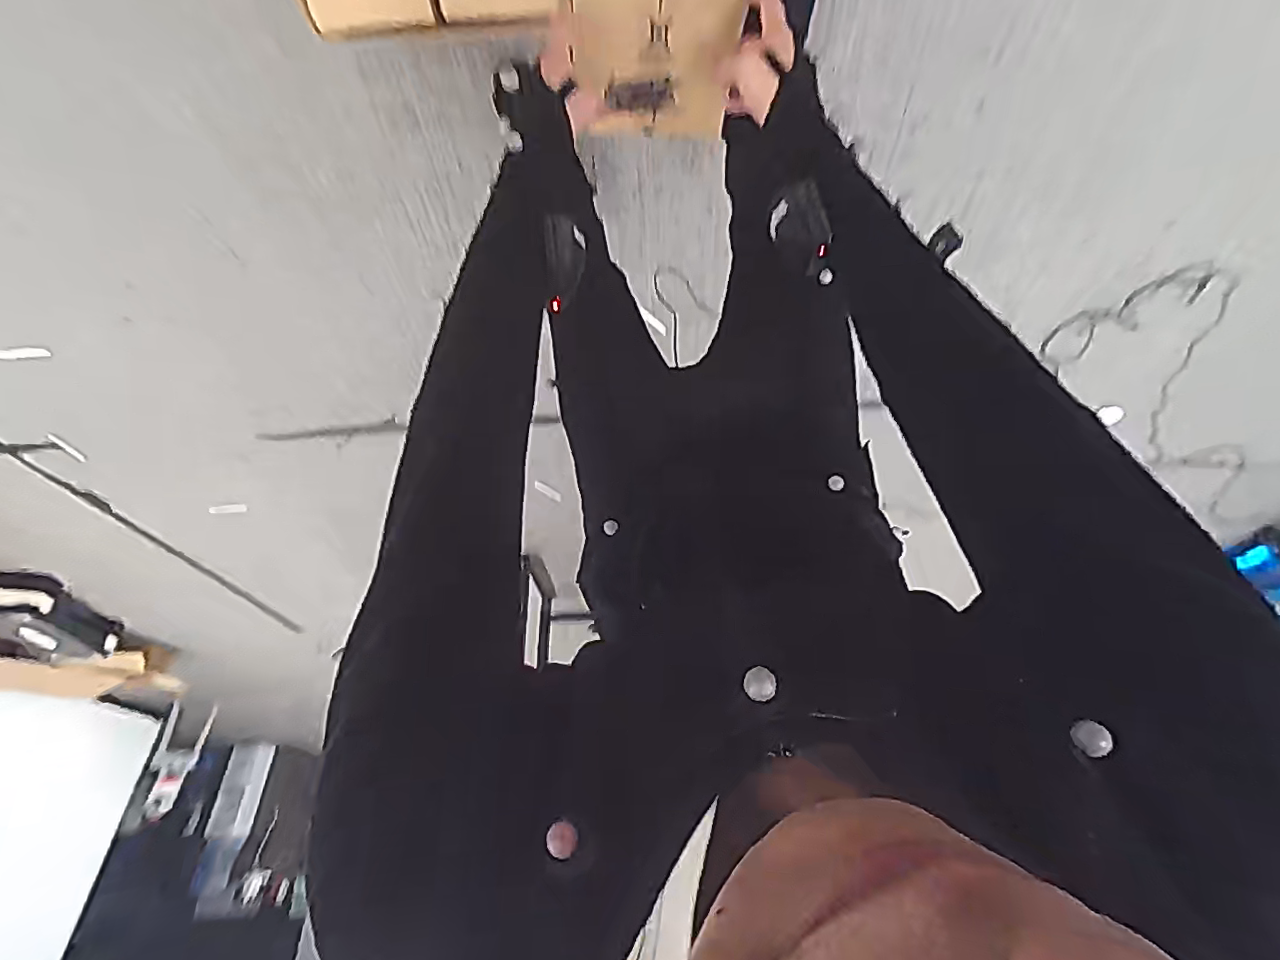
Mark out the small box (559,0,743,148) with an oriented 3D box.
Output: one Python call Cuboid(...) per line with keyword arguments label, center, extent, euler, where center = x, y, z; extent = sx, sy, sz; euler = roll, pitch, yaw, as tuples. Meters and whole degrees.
Cuboid(label="small box", center=(0.002, -0.484, 0.562), extent=(0.168, 0.176, 0.179), euler=(-3, 150, -8))
